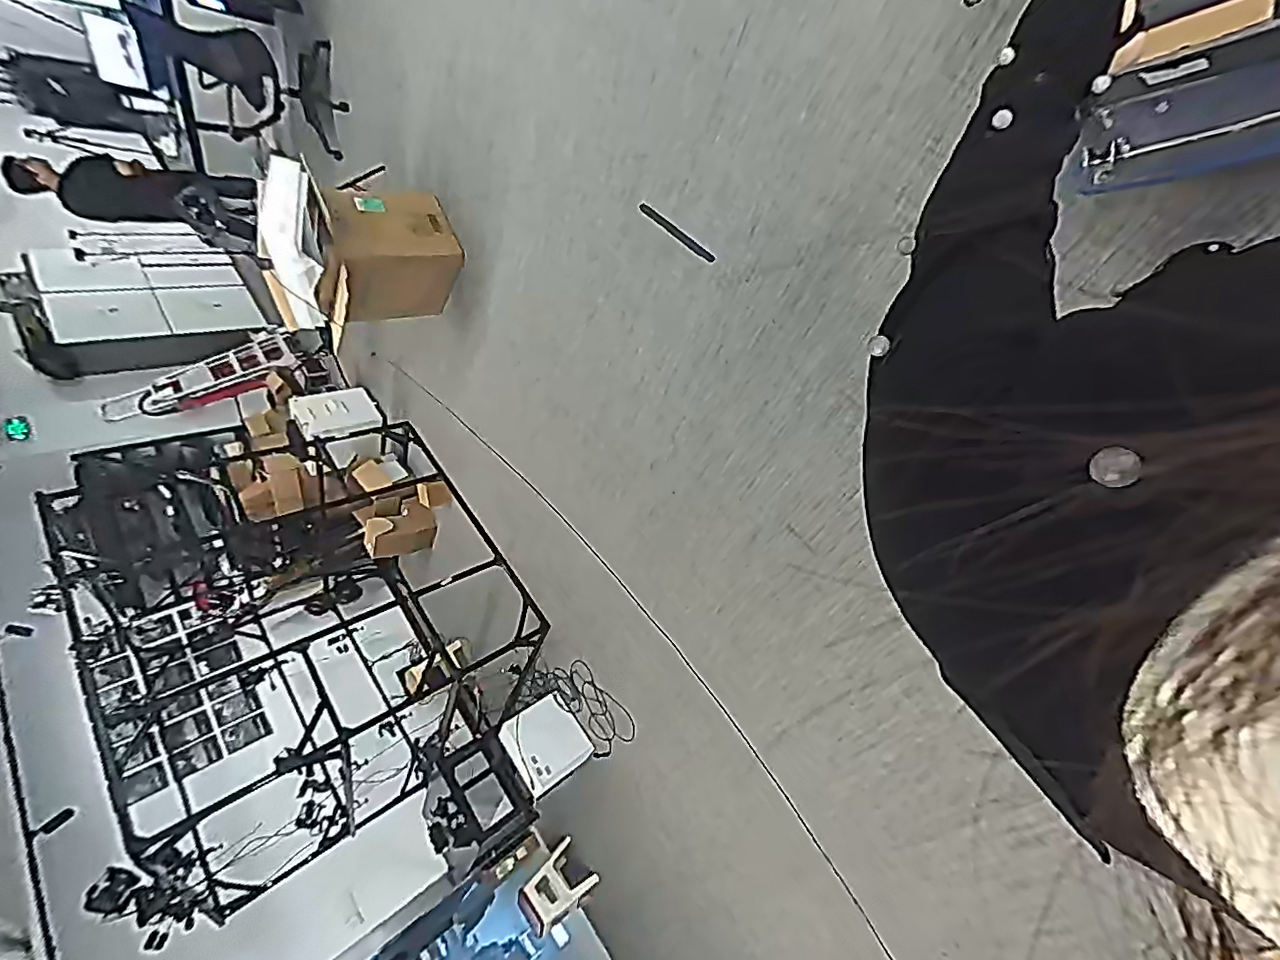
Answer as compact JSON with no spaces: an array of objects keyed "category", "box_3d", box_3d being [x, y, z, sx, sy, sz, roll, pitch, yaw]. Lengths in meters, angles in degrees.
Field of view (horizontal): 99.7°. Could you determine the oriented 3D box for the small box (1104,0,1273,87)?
[{"category":"small box","box_3d":[0.786,-0.698,0.774,0.168,0.176,0.179,3,109,47]}]
